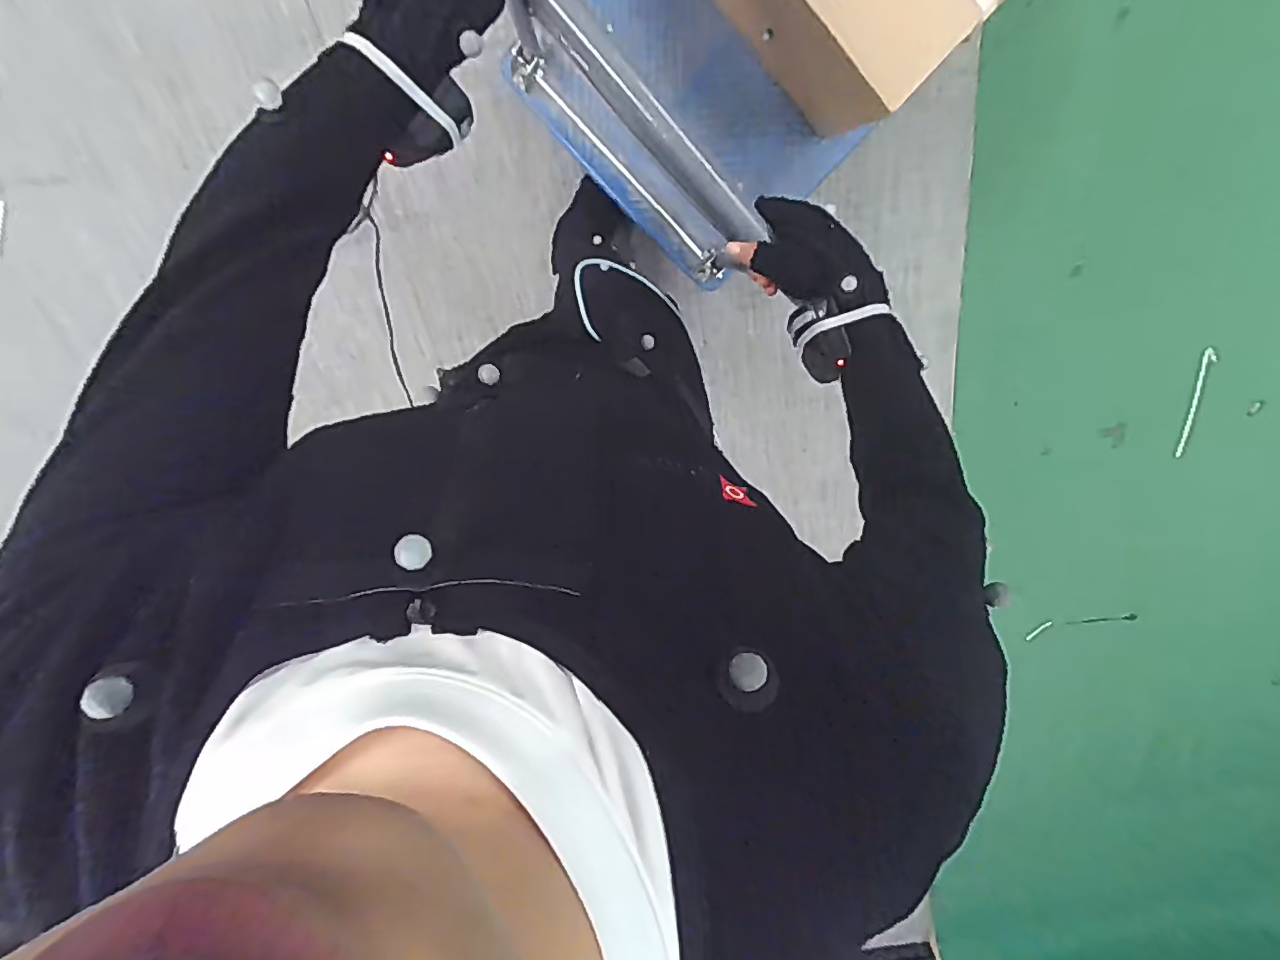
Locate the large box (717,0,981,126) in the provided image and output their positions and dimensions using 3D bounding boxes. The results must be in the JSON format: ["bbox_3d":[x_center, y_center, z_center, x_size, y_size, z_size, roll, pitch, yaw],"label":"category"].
[{"bbox_3d":[0.309,-0.825,0.802,0.408,0.320,0.320,38,110,-17],"label":"large box"}]
